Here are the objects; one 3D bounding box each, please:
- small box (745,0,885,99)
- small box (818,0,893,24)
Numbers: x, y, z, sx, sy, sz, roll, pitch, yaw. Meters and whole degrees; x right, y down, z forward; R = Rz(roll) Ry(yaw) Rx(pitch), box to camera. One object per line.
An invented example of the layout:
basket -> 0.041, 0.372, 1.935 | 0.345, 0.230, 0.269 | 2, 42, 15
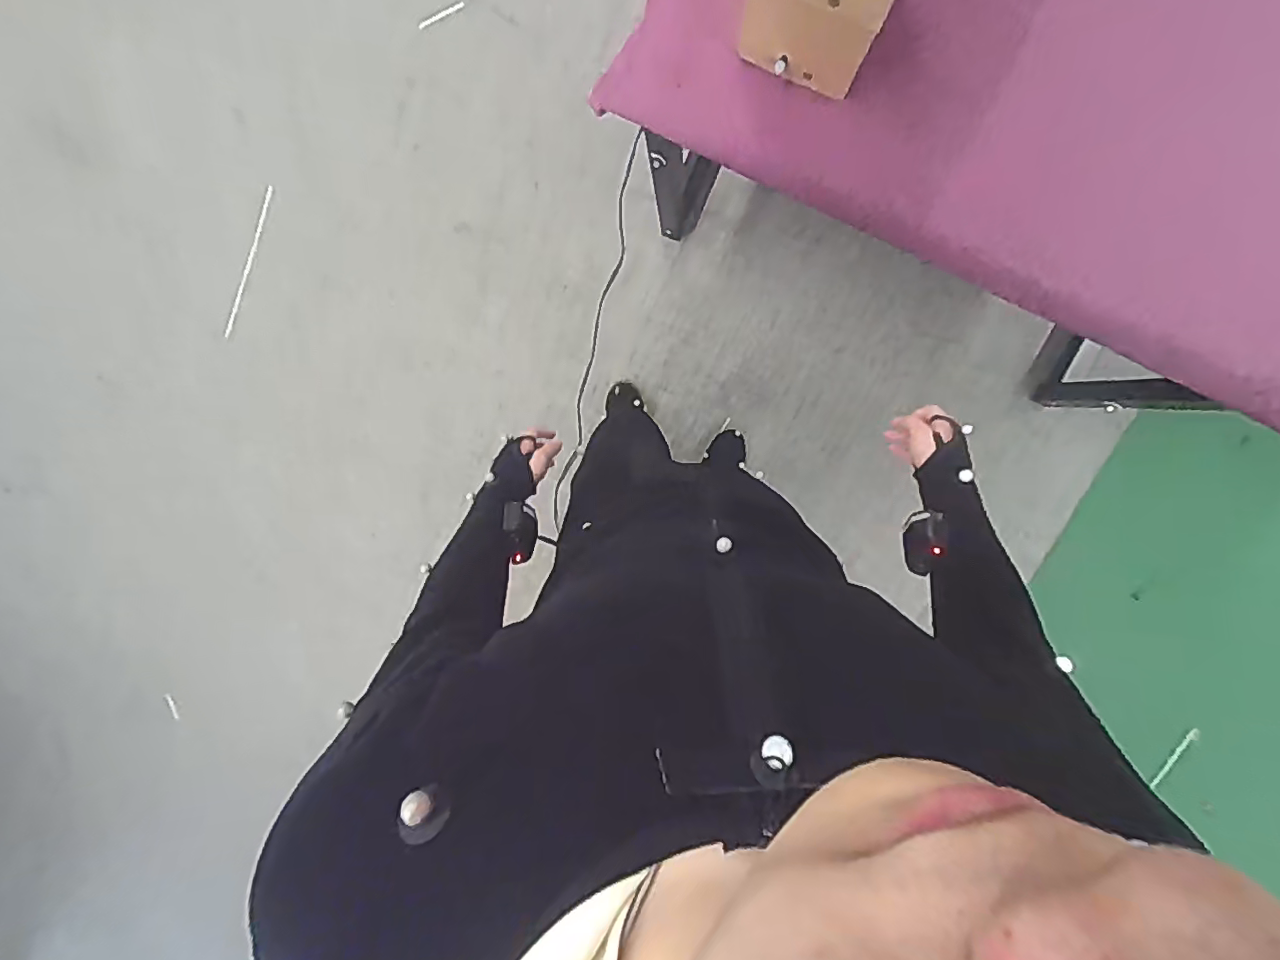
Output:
small box -> 0.245, -0.646, 0.693 | 0.168, 0.176, 0.179 | 24, 101, 2
small box -> 0.225, -0.615, 0.533 | 0.168, 0.176, 0.179 | 24, 99, 2
